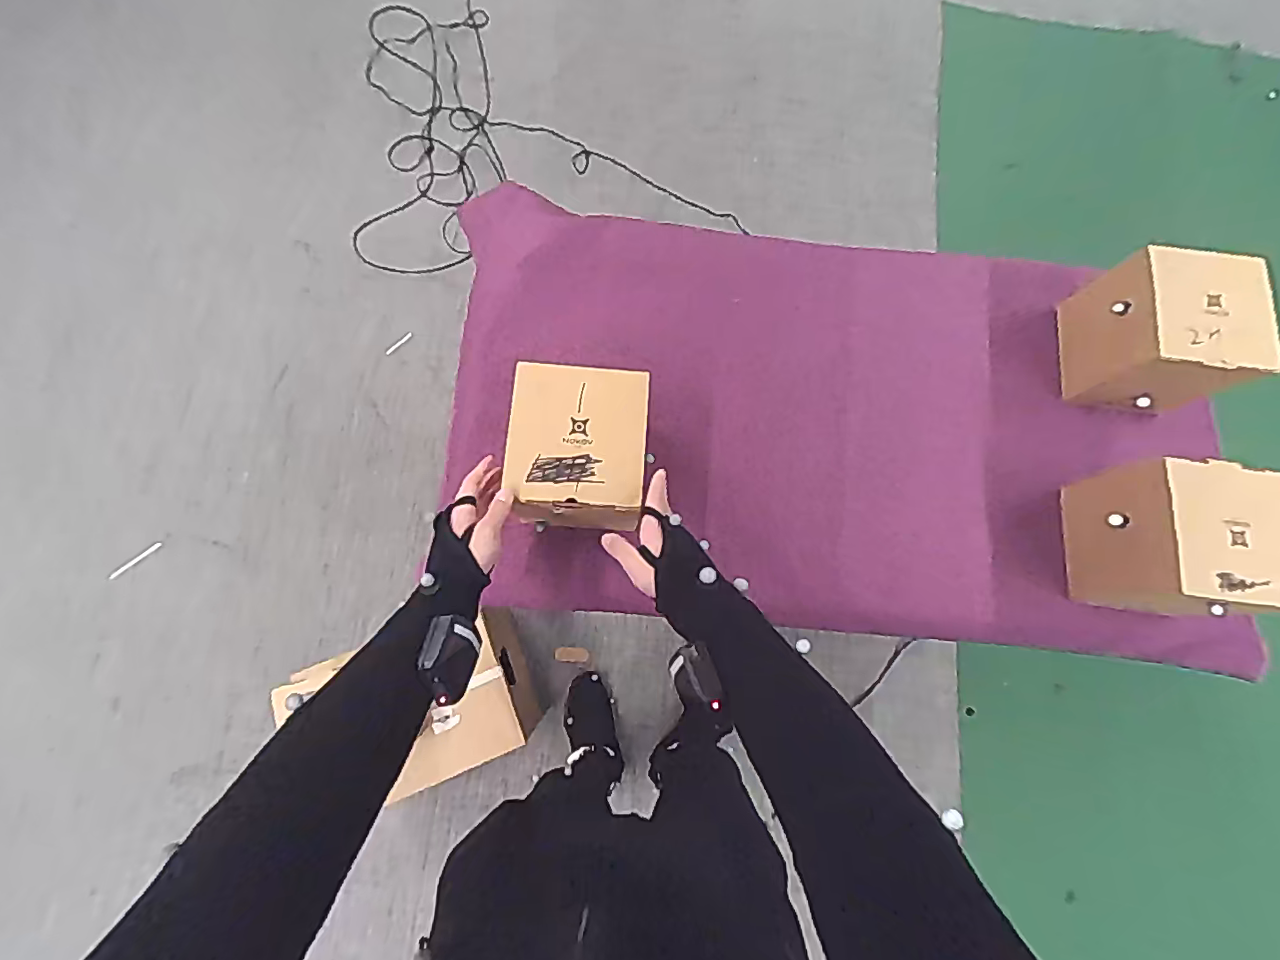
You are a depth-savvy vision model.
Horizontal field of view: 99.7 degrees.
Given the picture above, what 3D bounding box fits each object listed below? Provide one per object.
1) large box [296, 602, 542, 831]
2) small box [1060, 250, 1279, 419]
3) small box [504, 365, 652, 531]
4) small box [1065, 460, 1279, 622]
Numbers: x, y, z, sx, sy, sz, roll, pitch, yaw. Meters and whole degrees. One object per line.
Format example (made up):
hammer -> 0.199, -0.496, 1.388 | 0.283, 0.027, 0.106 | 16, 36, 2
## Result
large box -> -0.478, 0.510, 1.247 | 0.408, 0.320, 0.320 | -21, 79, -9
small box -> 0.775, -0.210, 0.814 | 0.168, 0.176, 0.179 | 7, 77, 1
small box -> -0.075, -0.032, 0.723 | 0.168, 0.176, 0.179 | 4, 74, -3
small box -> 0.724, 0.090, 0.735 | 0.168, 0.176, 0.179 | 8, 73, 1
